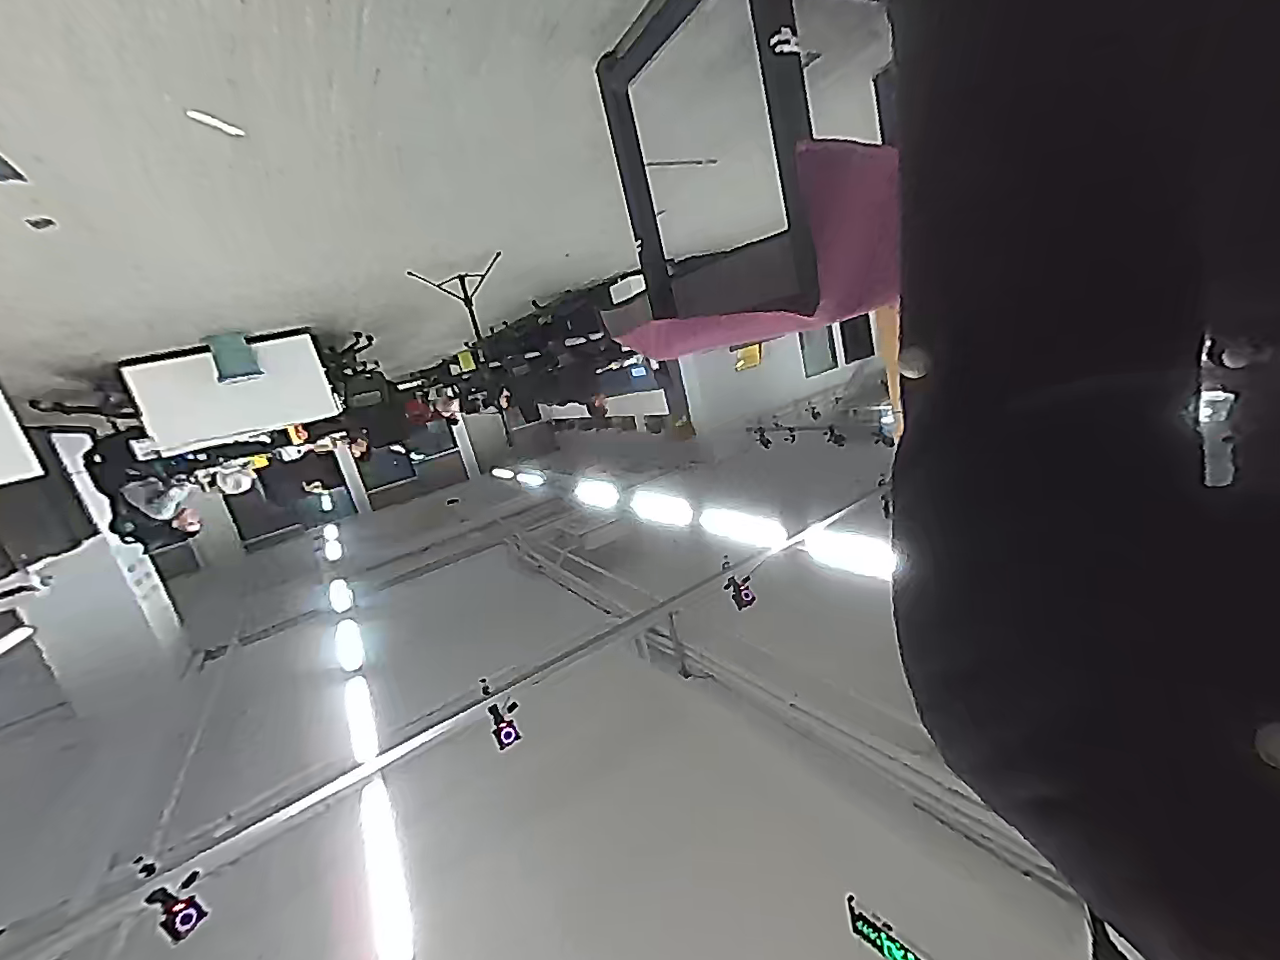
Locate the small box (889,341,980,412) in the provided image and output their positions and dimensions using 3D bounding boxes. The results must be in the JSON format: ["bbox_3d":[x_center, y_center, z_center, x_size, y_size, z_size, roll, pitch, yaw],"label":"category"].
[{"bbox_3d":[0.841,-0.299,1.555,0.168,0.176,0.179,-21,-165,-23],"label":"small box"}]

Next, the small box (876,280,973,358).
[{"bbox_3d":[0.787,-0.447,1.501,0.179,0.176,0.168,-18,-166,-18],"label":"small box"}]
